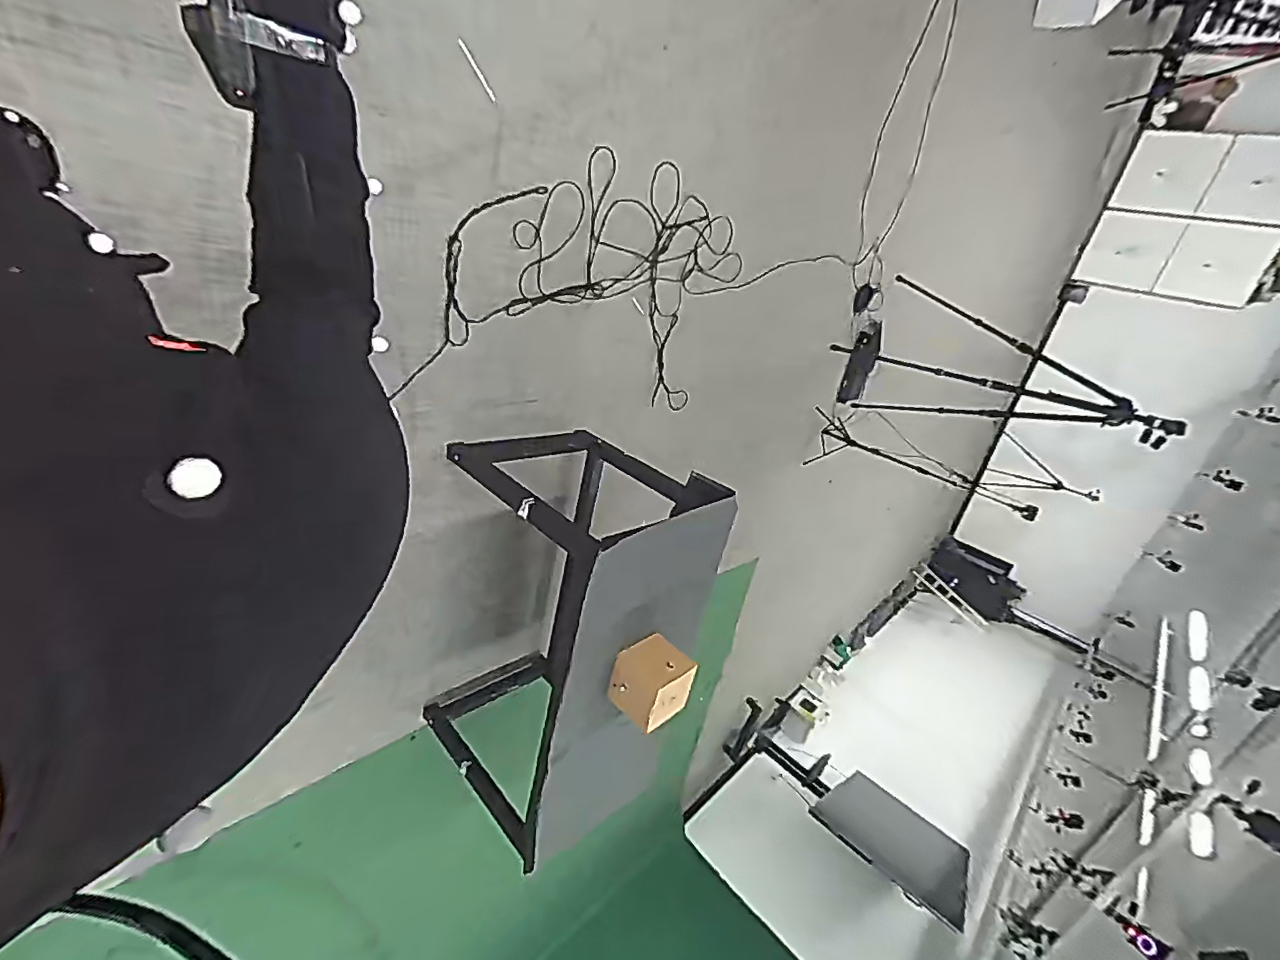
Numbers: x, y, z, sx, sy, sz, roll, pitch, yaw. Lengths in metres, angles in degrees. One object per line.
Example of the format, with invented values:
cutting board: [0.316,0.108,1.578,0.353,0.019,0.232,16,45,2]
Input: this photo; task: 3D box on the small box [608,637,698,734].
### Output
small box: [0.034,0.586,1.572,0.179,0.176,0.168,-12,122,-46]
